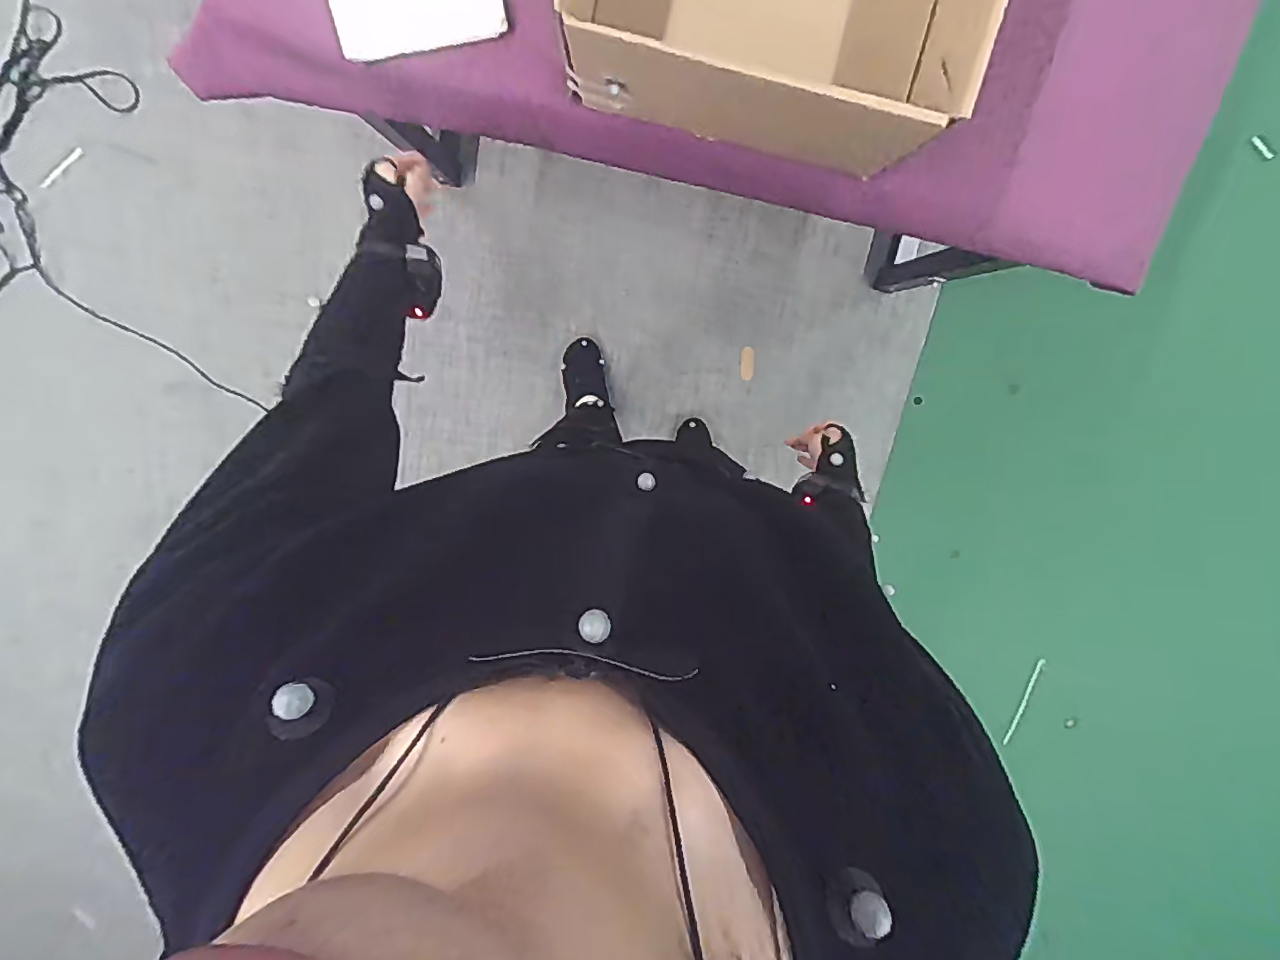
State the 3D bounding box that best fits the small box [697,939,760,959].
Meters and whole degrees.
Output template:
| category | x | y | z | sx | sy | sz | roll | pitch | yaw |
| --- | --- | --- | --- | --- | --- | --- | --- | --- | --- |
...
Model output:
| category | x | y | z | sx | sy | sz | roll | pitch | yaw |
| --- | --- | --- | --- | --- | --- | --- | --- | --- | --- |
| small box | 0.242 | 1.376 | 1.444 | 0.168 | 0.176 | 0.179 | 2 | 103 | -1 |
